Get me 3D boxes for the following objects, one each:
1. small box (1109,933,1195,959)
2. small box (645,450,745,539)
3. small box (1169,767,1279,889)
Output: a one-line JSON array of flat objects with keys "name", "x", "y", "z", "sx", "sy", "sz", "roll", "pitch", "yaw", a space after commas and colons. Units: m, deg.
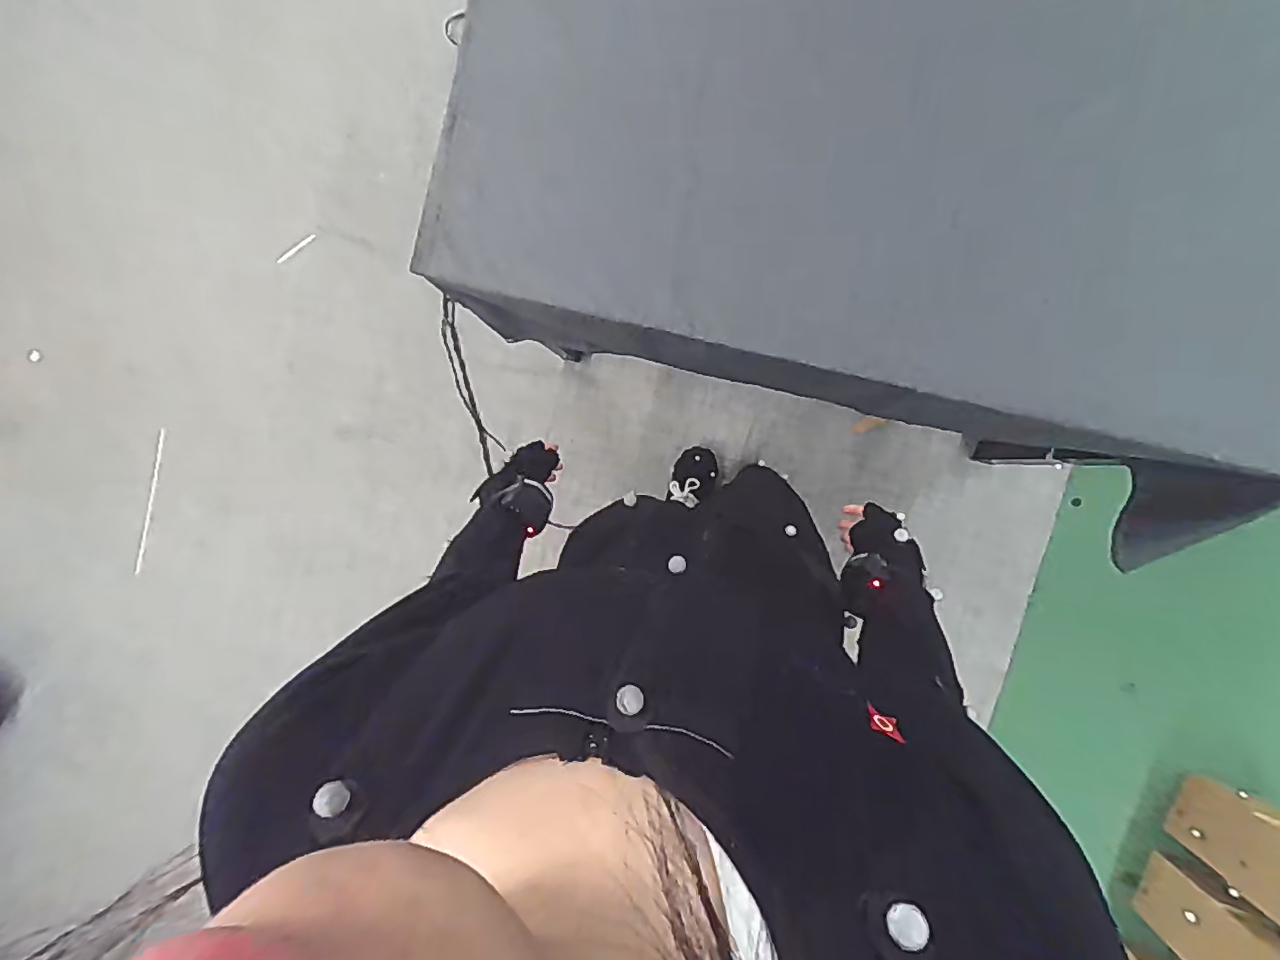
[{"name": "small box", "x": 1.283, "y": 1.255, "z": 1.301, "sx": 0.179, "sy": 0.176, "sz": 0.168, "roll": 16, "pitch": 95, "yaw": 7}, {"name": "small box", "x": 0.138, "y": 0.037, "z": 1.416, "sx": 0.168, "sy": 0.176, "sz": 0.179, "roll": -42, "pitch": 66, "yaw": 23}, {"name": "small box", "x": 1.415, "y": 0.810, "z": 1.263, "sx": 0.179, "sy": 0.176, "sz": 0.168, "roll": 20, "pitch": 95, "yaw": 6}]
